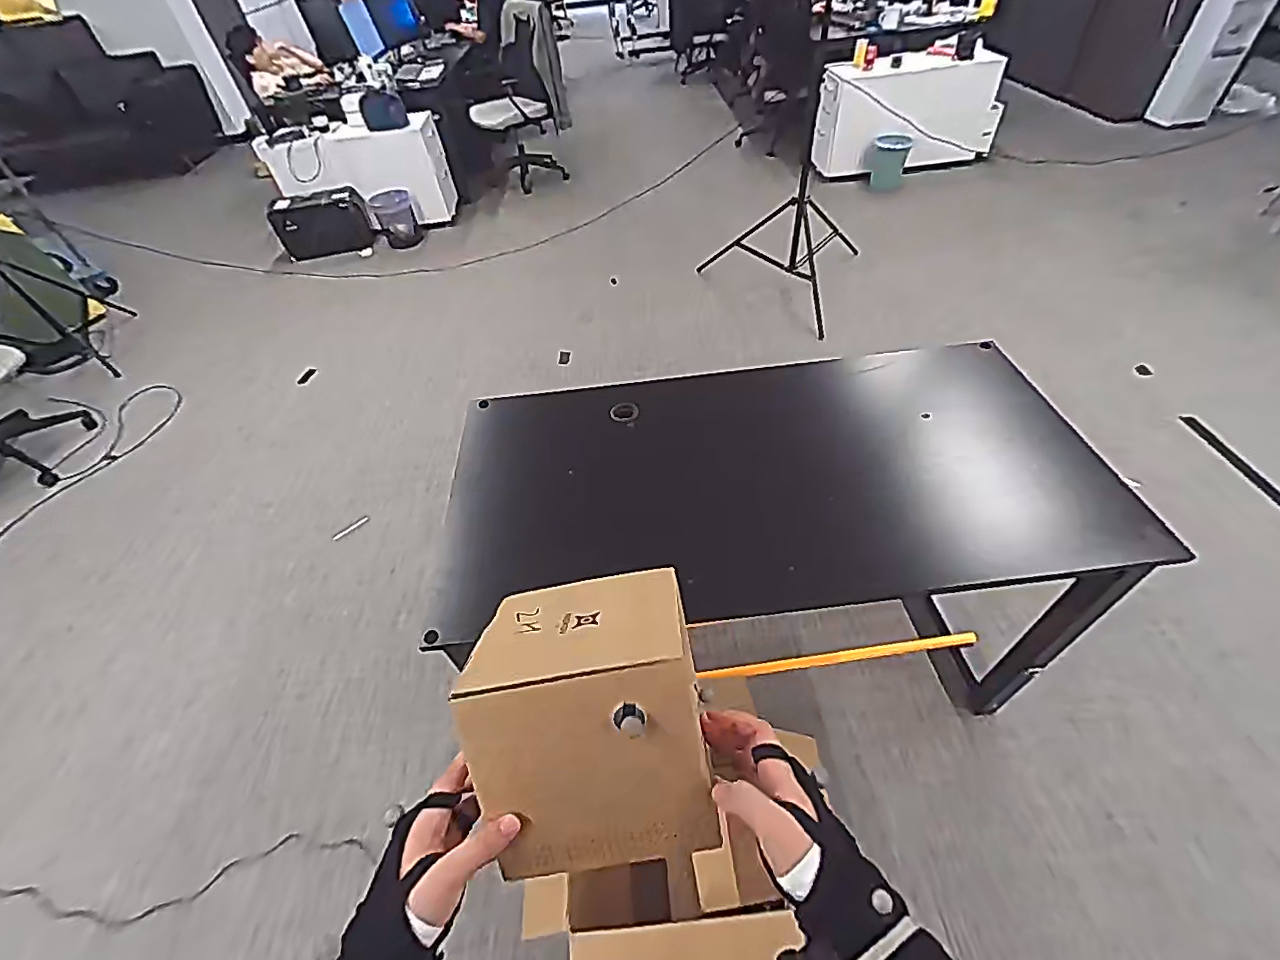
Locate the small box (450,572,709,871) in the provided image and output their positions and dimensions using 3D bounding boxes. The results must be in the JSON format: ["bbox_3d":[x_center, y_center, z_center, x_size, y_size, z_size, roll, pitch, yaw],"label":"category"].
[{"bbox_3d":[-0.036,0.201,0.478,0.179,0.176,0.168,-10,13,4],"label":"small box"}]
